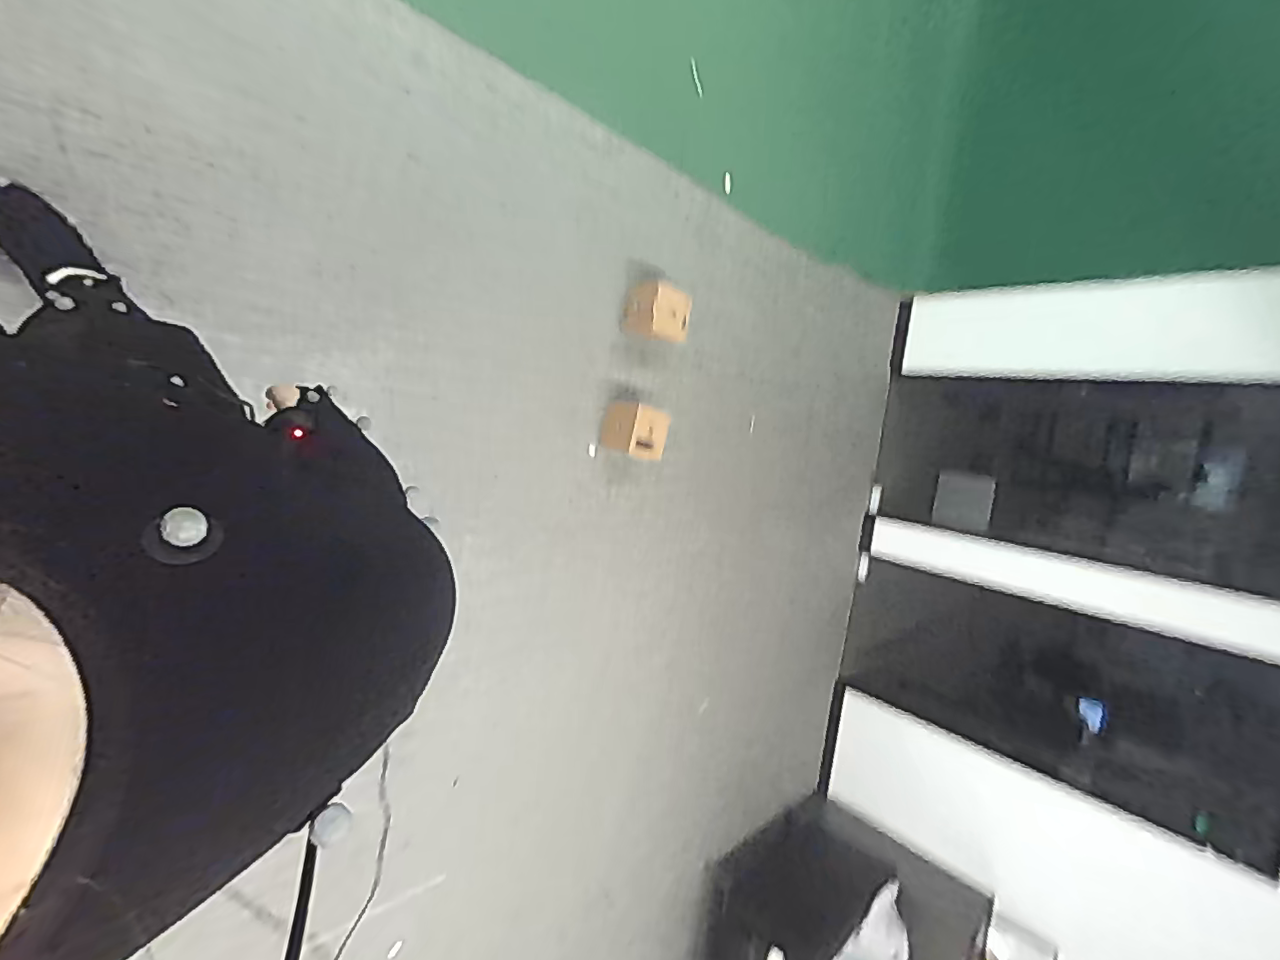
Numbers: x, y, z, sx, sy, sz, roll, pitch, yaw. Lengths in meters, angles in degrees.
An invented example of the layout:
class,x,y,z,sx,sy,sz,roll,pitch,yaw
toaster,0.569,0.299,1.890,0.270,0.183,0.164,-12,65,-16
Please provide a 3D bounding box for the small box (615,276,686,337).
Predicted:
class,x,y,z,sx,sy,sz,roll,pitch,yaw
small box,0.033,-0.612,1.932,0.179,0.176,0.168,8,95,-44
